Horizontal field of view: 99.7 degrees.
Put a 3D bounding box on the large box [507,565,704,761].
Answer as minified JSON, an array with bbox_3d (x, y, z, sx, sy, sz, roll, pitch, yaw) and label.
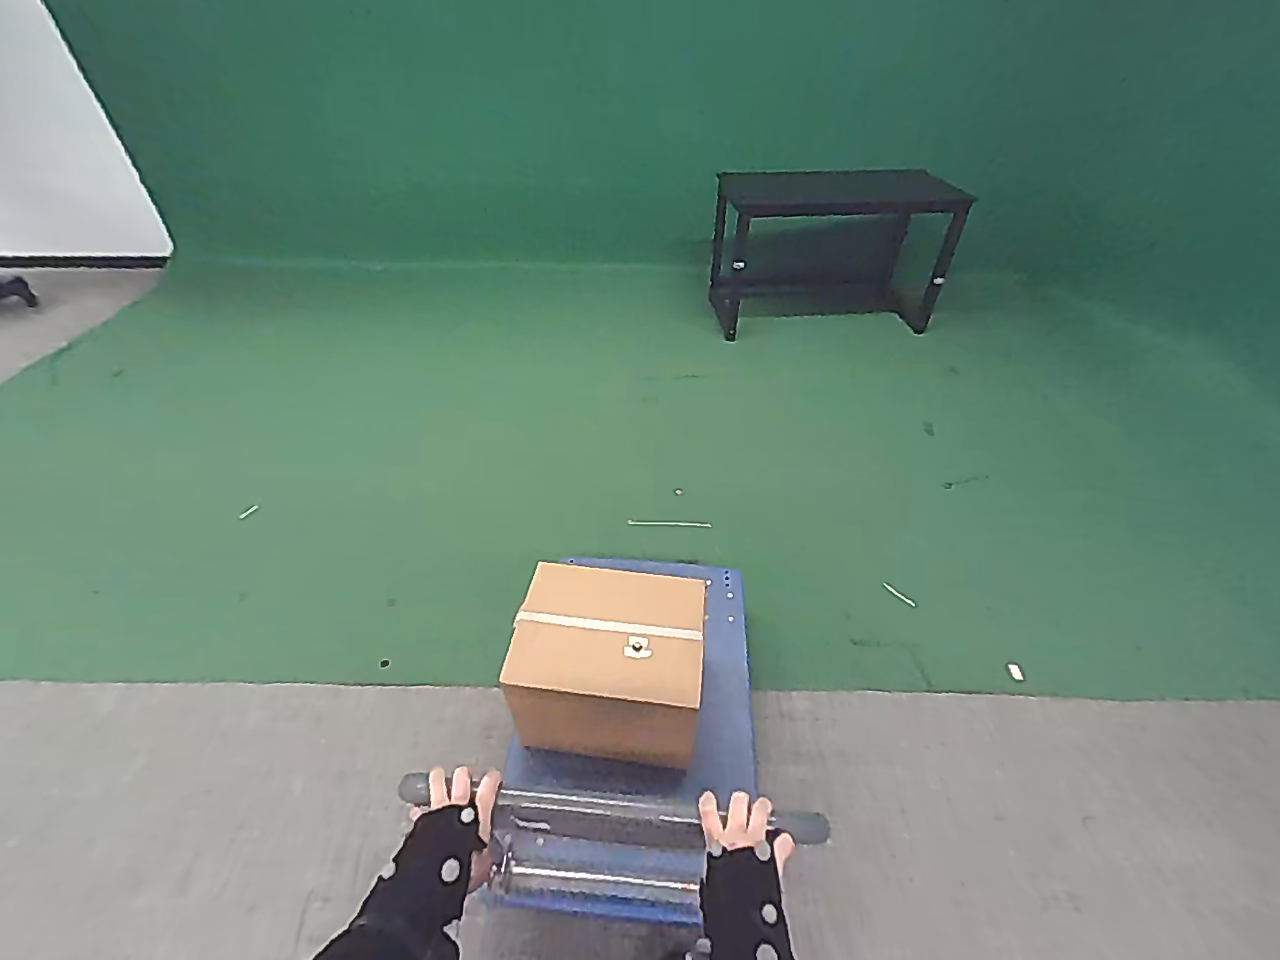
[{"bbox_3d":[-0.066,0.435,1.295,0.408,0.320,0.320,6,42,4],"label":"large box"}]
